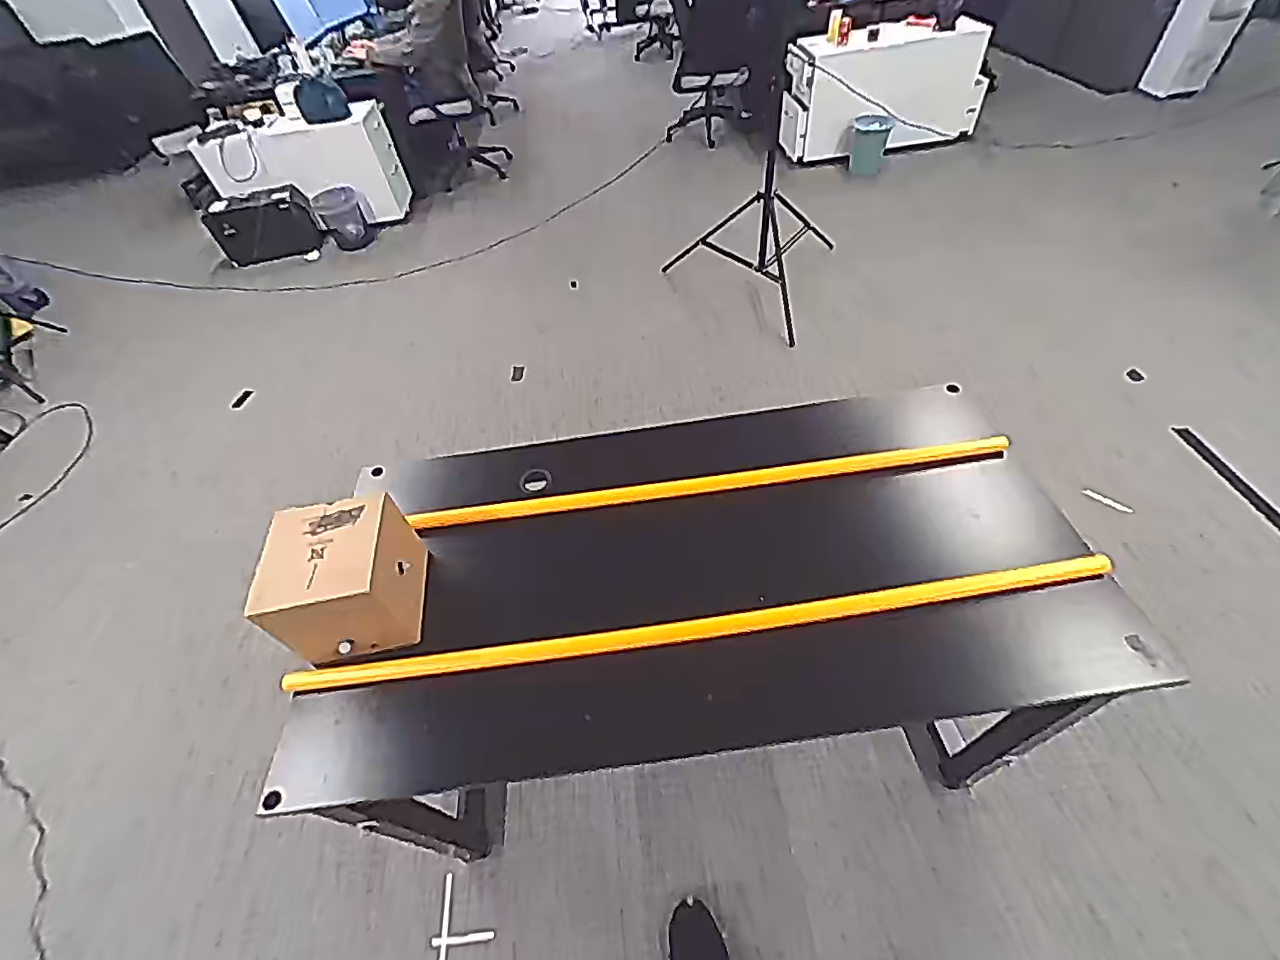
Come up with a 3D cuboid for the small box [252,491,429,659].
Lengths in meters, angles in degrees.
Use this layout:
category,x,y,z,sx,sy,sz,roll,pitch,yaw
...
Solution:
category,x,y,z,sx,sy,sz,roll,pitch,yaw
small box,-0.435,0.145,0.823,0.168,0.176,0.179,-11,50,-3
